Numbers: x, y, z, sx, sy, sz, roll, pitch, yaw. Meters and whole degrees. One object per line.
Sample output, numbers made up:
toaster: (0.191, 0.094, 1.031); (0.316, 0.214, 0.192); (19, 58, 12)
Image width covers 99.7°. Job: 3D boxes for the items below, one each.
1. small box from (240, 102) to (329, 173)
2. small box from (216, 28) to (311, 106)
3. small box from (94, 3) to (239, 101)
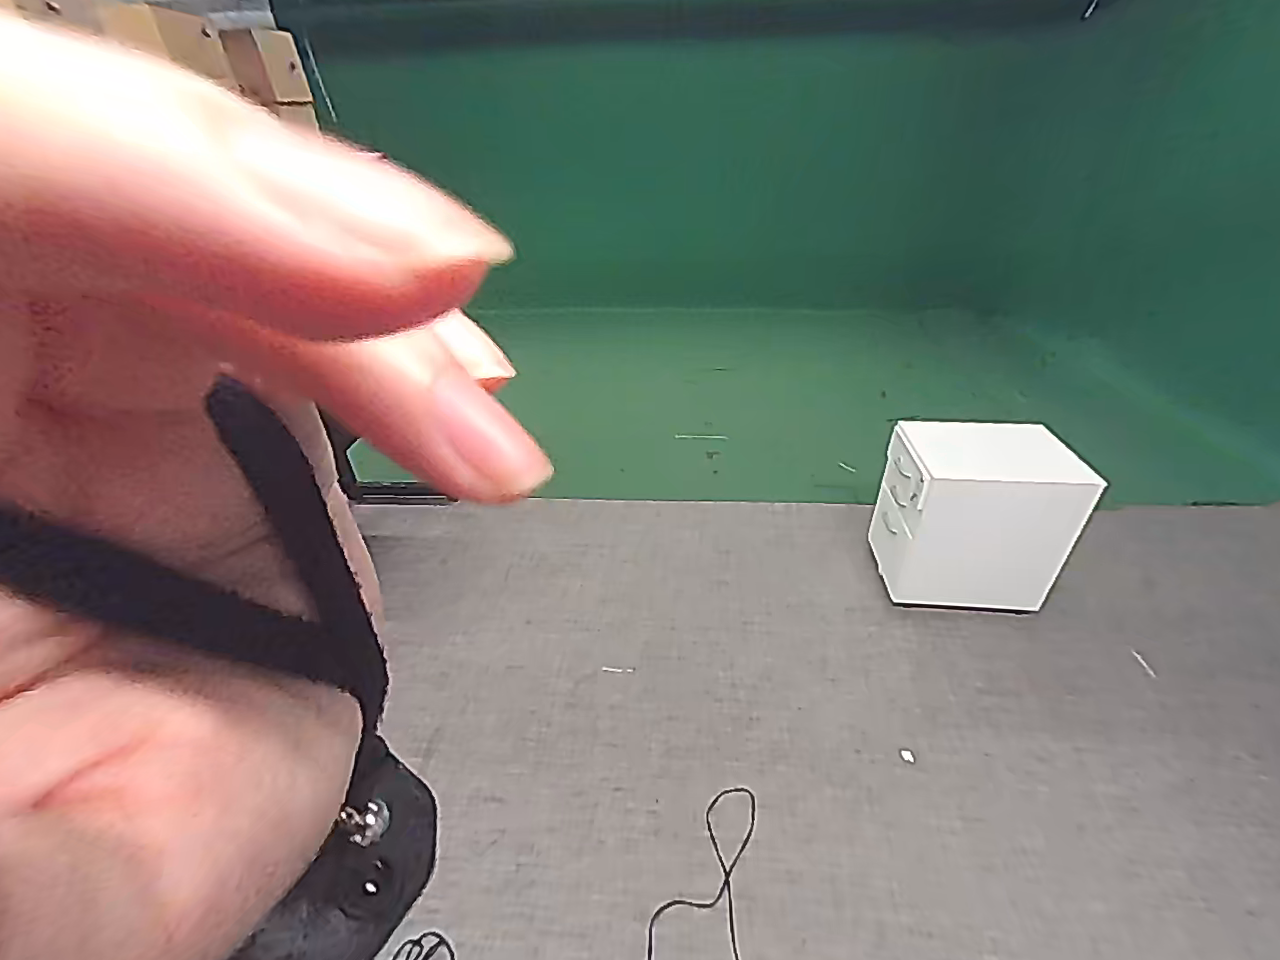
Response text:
small box: (-1.089, -1.040, 1.641); (0.179, 0.176, 0.168); (0, 34, 6)
small box: (-1.083, -1.172, 1.546); (0.168, 0.176, 0.179); (-1, 36, 6)
small box: (-1.102, -0.989, 1.271); (0.168, 0.176, 0.179); (3, 32, 8)
